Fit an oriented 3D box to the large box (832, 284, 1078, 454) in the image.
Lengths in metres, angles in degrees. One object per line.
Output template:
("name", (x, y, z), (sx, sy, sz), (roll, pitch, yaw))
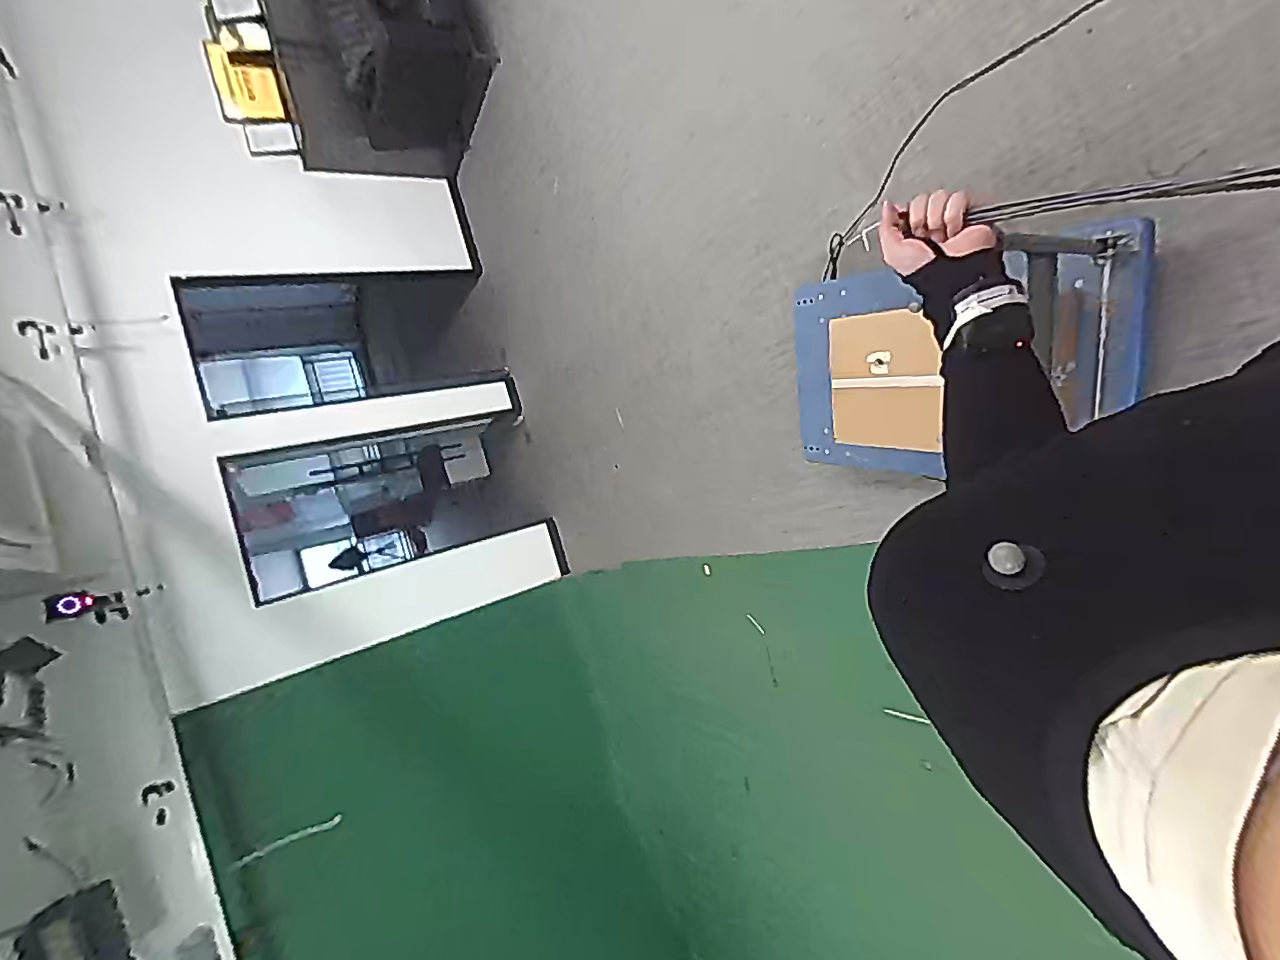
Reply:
("large box", (0.719, -0.255, 1.260), (0.408, 0.320, 0.320), (13, 114, 56))
